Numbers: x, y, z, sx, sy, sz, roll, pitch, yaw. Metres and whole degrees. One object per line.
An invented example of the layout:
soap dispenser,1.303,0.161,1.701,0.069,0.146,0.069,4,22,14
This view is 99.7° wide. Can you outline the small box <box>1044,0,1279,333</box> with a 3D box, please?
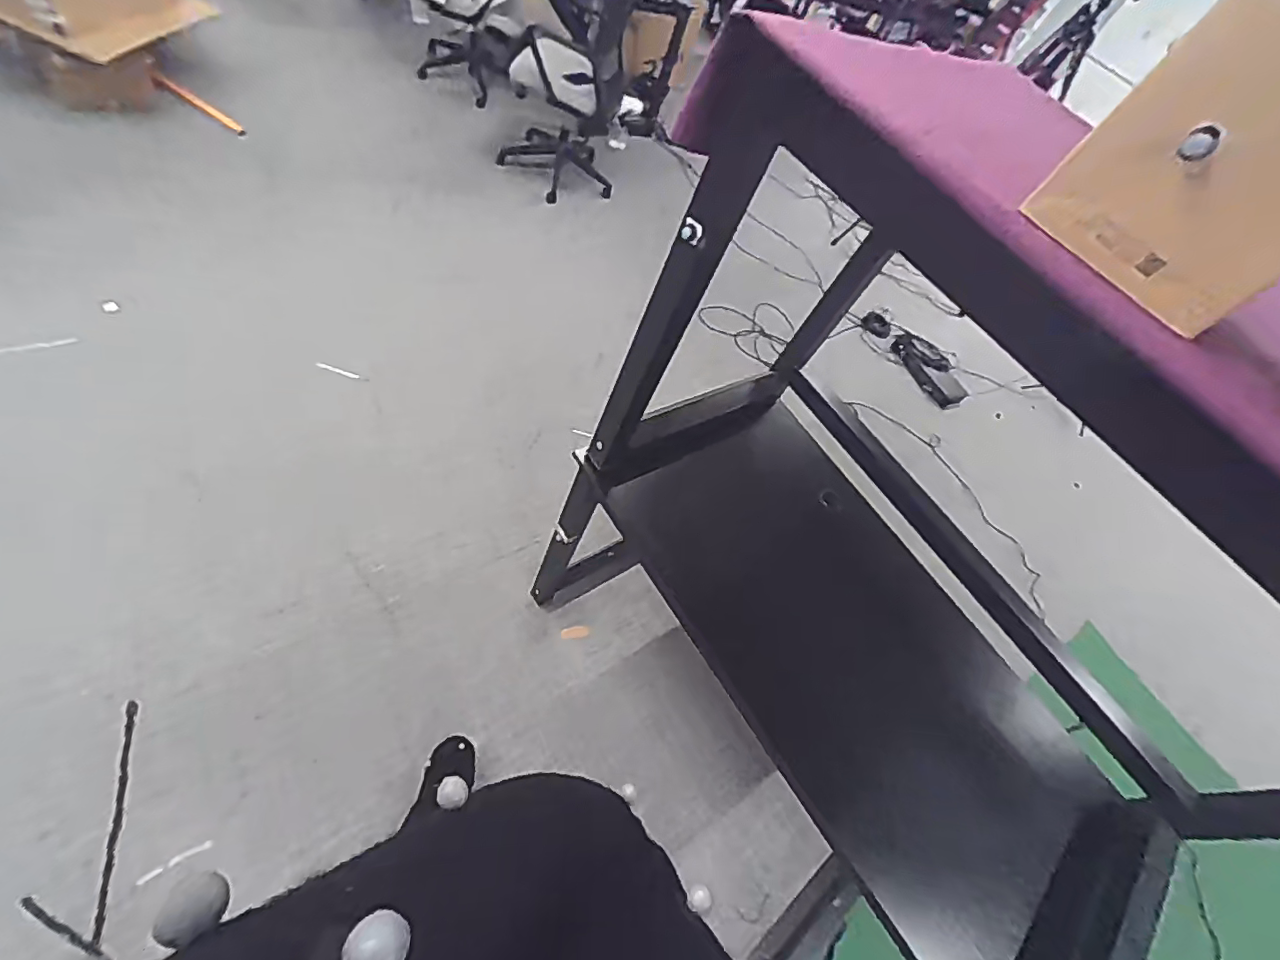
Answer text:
small box,0.453,-0.233,0.402,0.179,0.176,0.168,-27,72,-36
